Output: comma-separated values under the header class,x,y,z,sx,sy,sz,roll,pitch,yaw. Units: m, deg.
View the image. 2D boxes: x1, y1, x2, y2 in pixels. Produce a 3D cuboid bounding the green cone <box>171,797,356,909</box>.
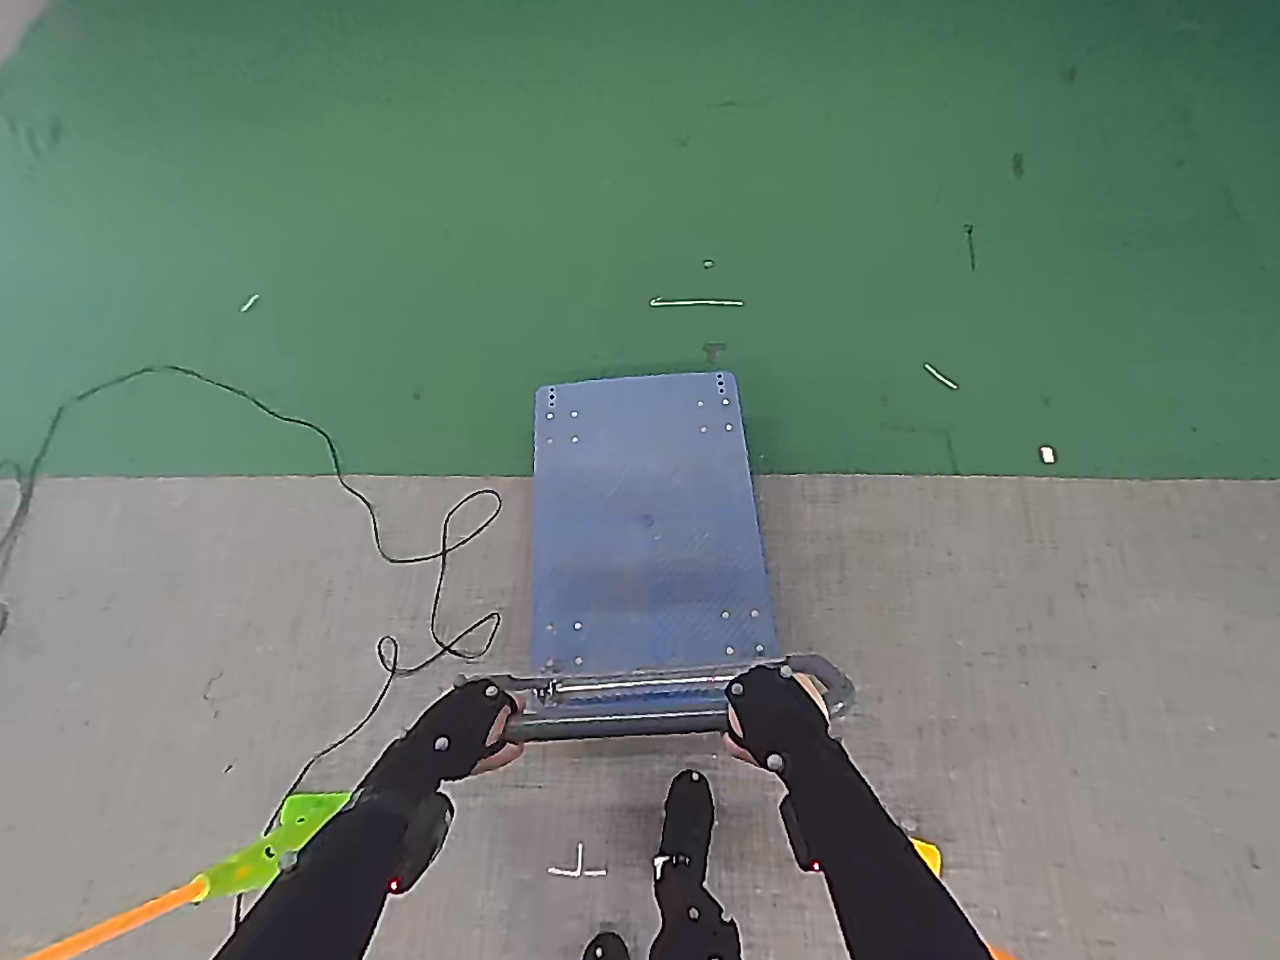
class,x,y,z,sx,sy,sz,roll,pitch,yaw
green cone,-0.790,0.798,1.118,0.202,0.368,0.200,-4,67,3
